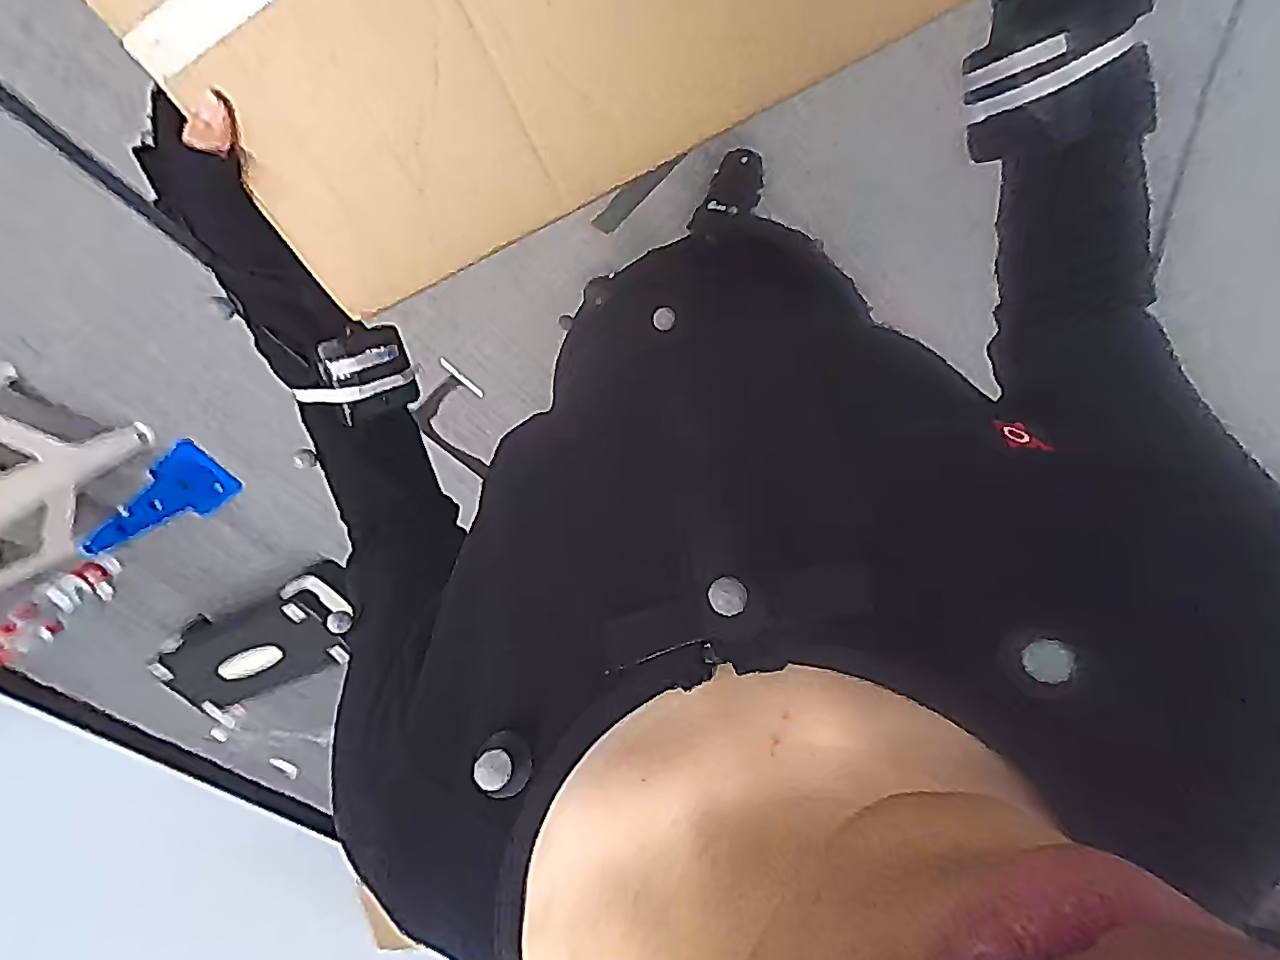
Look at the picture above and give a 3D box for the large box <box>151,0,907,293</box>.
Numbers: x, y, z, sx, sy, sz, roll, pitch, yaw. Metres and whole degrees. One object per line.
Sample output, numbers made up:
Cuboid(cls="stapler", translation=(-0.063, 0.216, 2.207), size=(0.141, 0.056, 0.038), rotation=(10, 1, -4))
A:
Cuboid(cls="large box", translation=(-0.071, -0.392, 0.363), size=(0.408, 0.320, 0.320), rotation=(-21, 124, 14))
